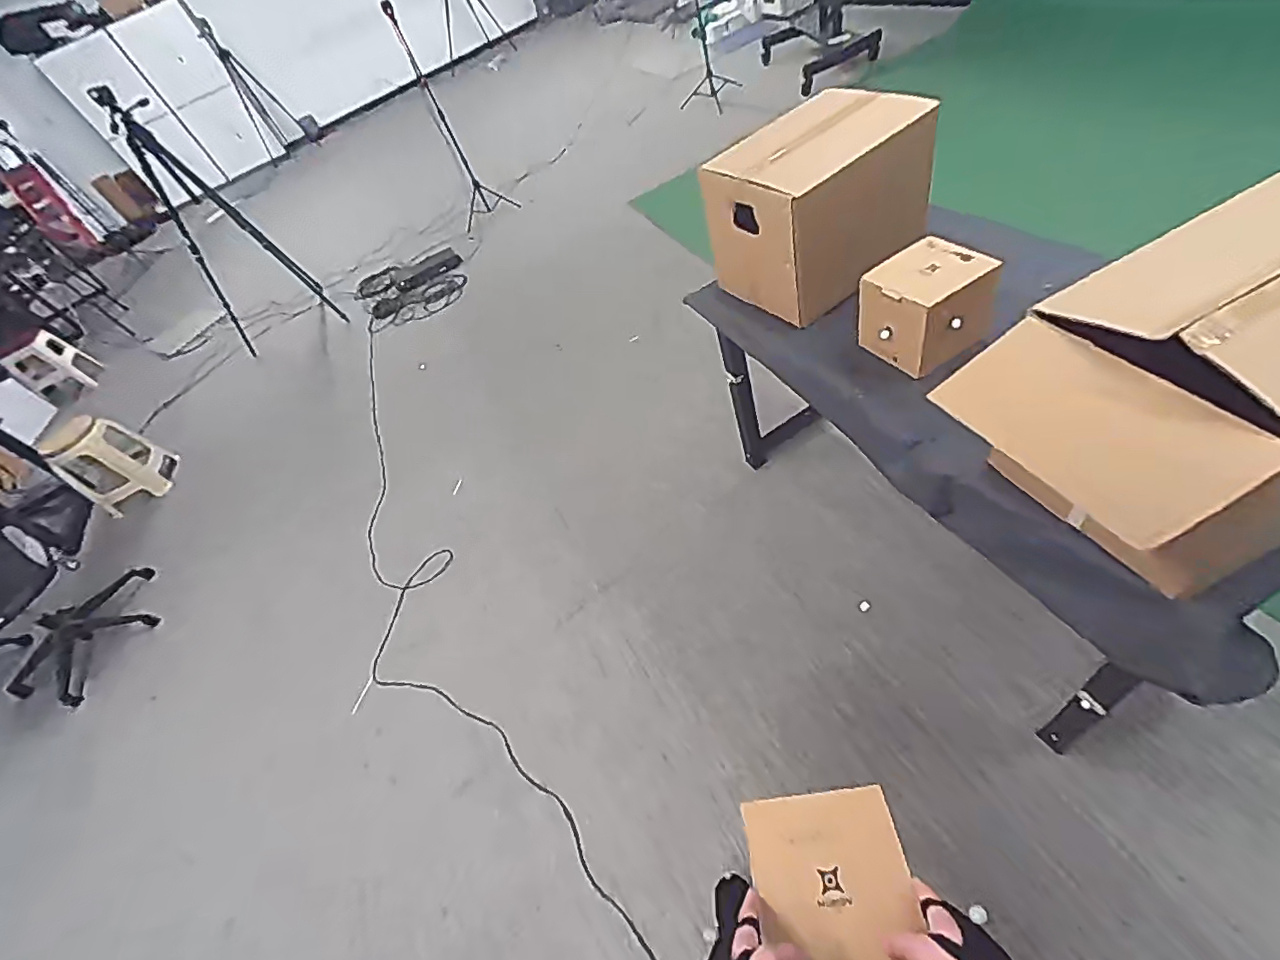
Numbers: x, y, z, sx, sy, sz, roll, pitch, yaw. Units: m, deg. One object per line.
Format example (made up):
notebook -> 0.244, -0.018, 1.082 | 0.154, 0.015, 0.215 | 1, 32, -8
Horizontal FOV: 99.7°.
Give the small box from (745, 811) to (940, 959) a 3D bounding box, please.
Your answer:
small box -> 0.221, 0.498, 0.603 | 0.168, 0.176, 0.179 | -11, 43, 6
